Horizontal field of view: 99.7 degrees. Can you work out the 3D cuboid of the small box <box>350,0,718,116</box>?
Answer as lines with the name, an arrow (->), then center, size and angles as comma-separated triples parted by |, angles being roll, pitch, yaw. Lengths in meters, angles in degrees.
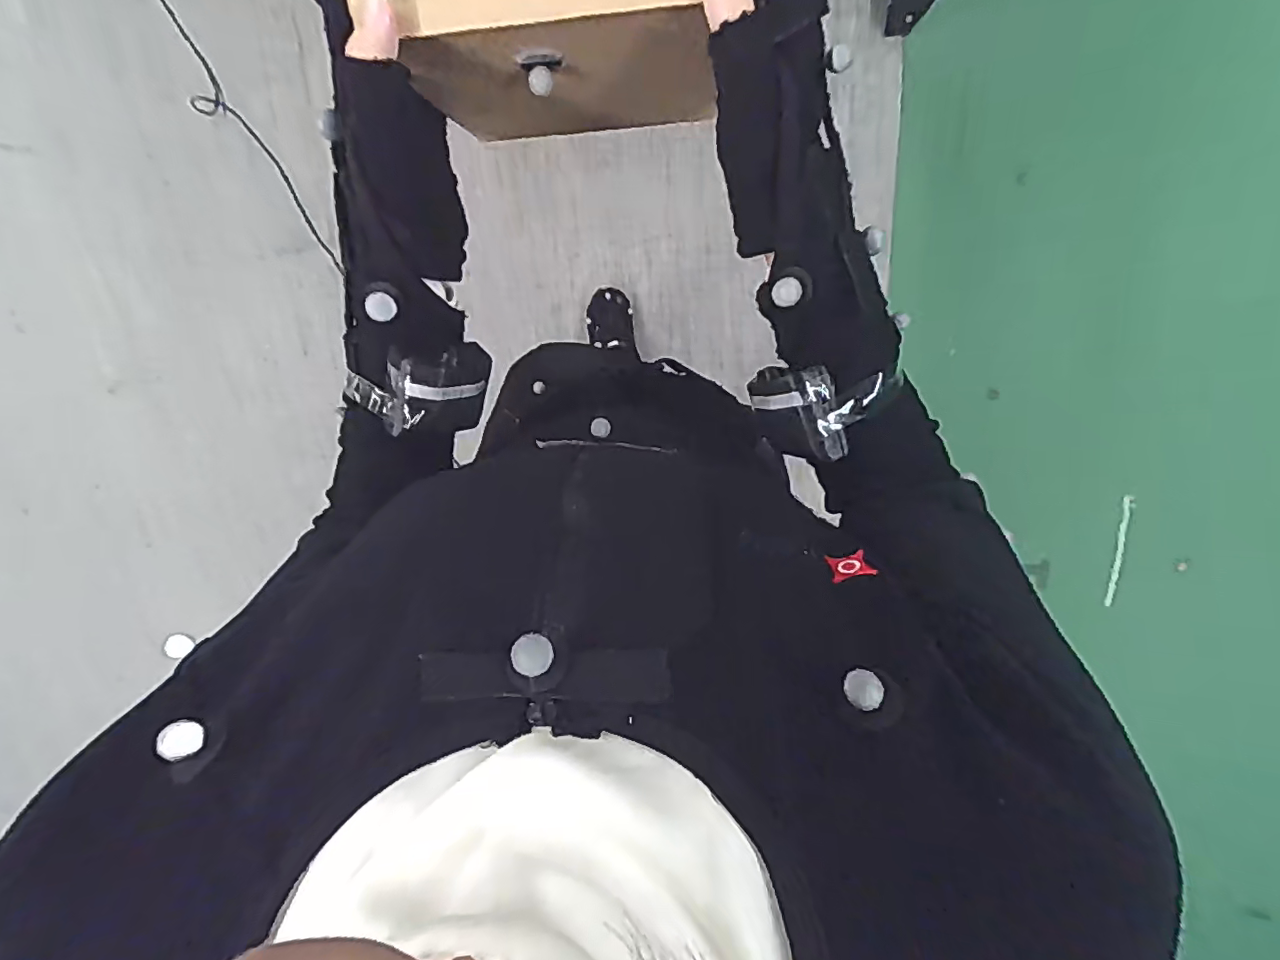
small box -> -0.046, -0.318, 0.289 | 0.179, 0.176, 0.168 | -2, 109, 4
